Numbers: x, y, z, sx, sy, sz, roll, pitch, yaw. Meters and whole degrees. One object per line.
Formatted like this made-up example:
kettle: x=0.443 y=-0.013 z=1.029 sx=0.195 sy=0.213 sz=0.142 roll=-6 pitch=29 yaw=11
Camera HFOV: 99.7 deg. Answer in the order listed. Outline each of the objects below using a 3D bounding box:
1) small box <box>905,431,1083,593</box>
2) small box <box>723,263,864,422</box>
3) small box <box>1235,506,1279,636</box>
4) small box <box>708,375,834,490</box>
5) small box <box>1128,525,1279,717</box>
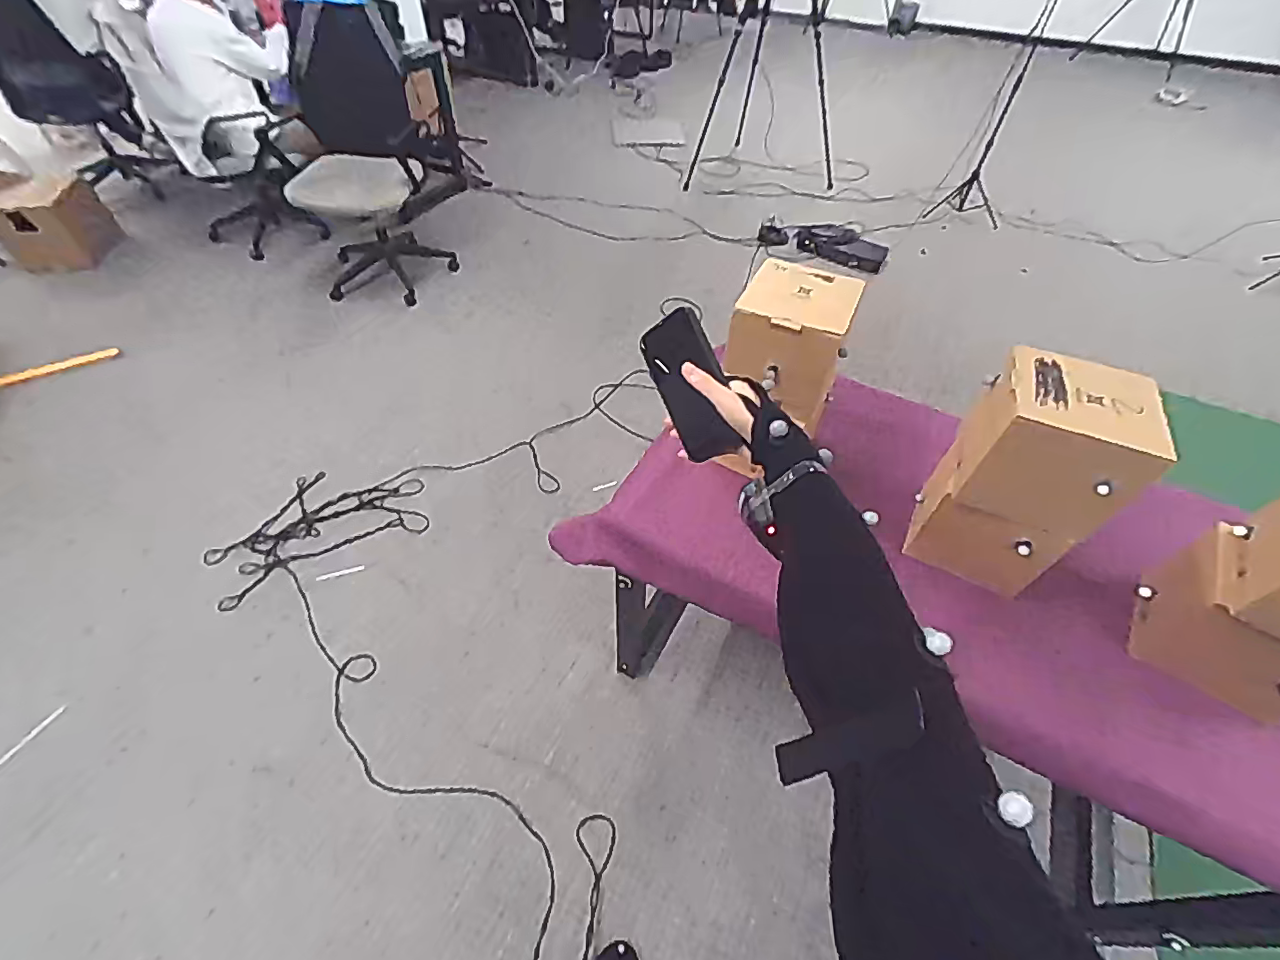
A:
small box: x=0.562 y=0.057 z=0.871 sx=0.179 sy=0.176 sz=0.168 roll=25 pitch=53 yaw=19
small box: x=0.245 y=-0.224 z=0.890 sx=0.168 sy=0.176 sz=0.179 roll=21 pitch=52 yaw=16
small box: x=0.850 y=0.108 z=0.620 sx=0.179 sy=0.176 sz=0.168 roll=30 pitch=54 yaw=22
small box: x=0.237 y=-0.111 z=1.009 sx=0.168 sy=0.176 sz=0.179 roll=25 pitch=53 yaw=19
small box: x=0.846 y=0.202 z=0.755 sx=0.179 sy=0.176 sz=0.168 roll=30 pitch=54 yaw=23
